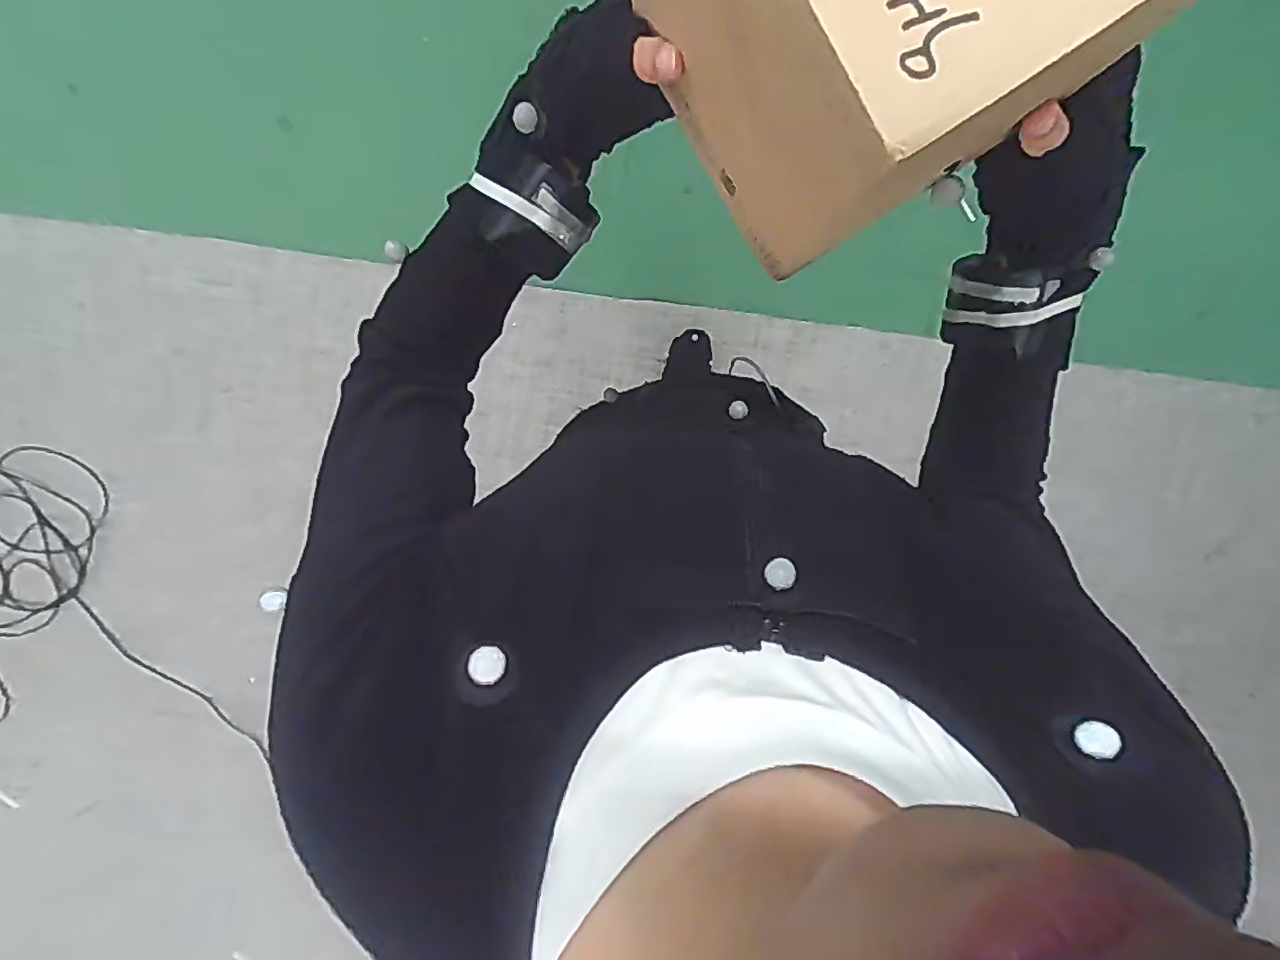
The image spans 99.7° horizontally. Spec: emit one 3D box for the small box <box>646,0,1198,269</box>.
[{"bbox_3d":[0.111,-0.220,0.225,0.179,0.176,0.168,-32,95,5],"label":"small box"}]
